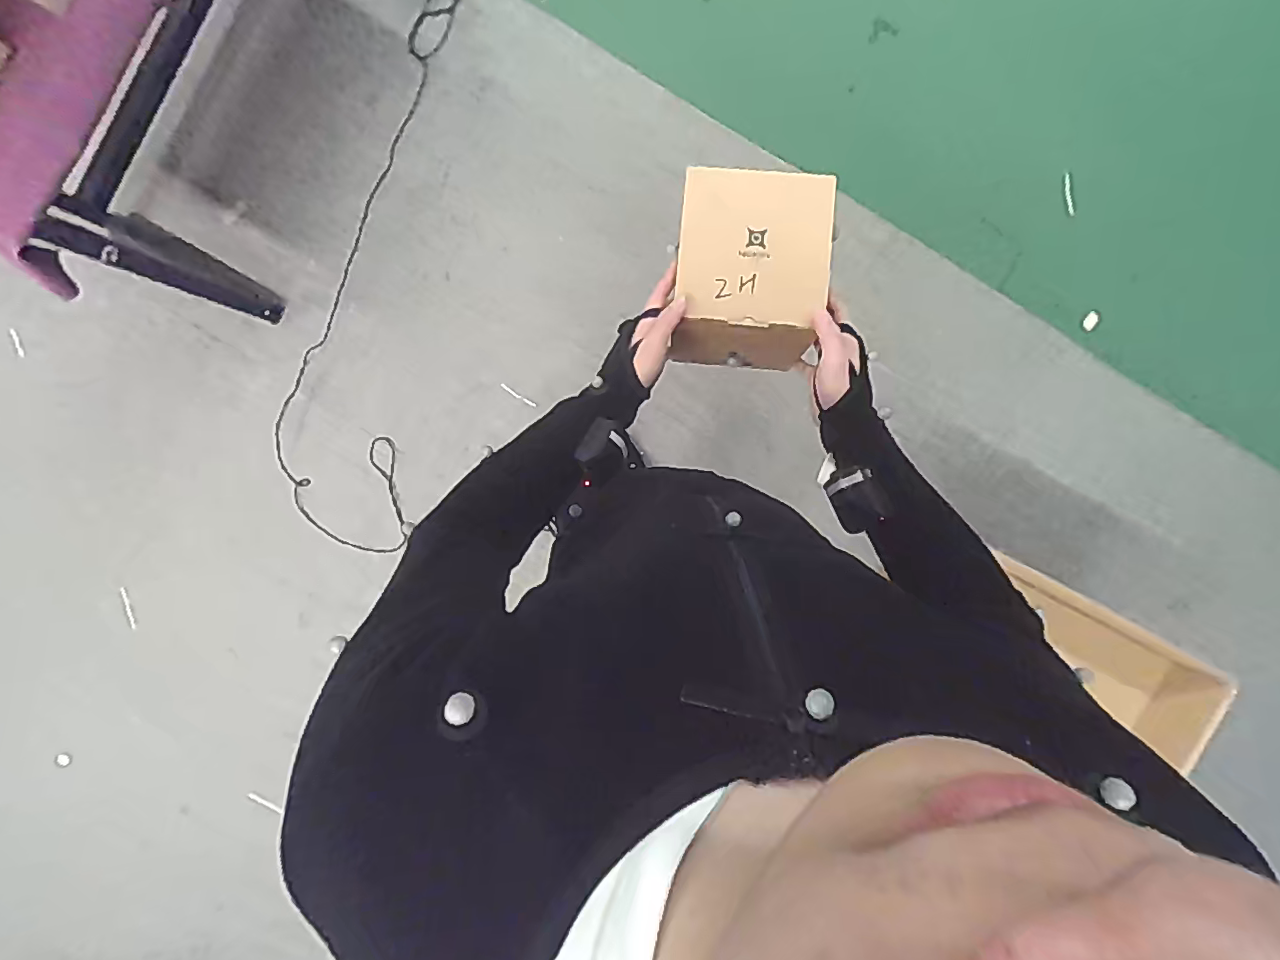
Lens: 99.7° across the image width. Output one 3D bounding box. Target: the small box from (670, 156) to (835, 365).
[{"bbox_3d":[0.126,-0.254,0.659,0.168,0.176,0.179,5,86,3],"label":"small box"}]
